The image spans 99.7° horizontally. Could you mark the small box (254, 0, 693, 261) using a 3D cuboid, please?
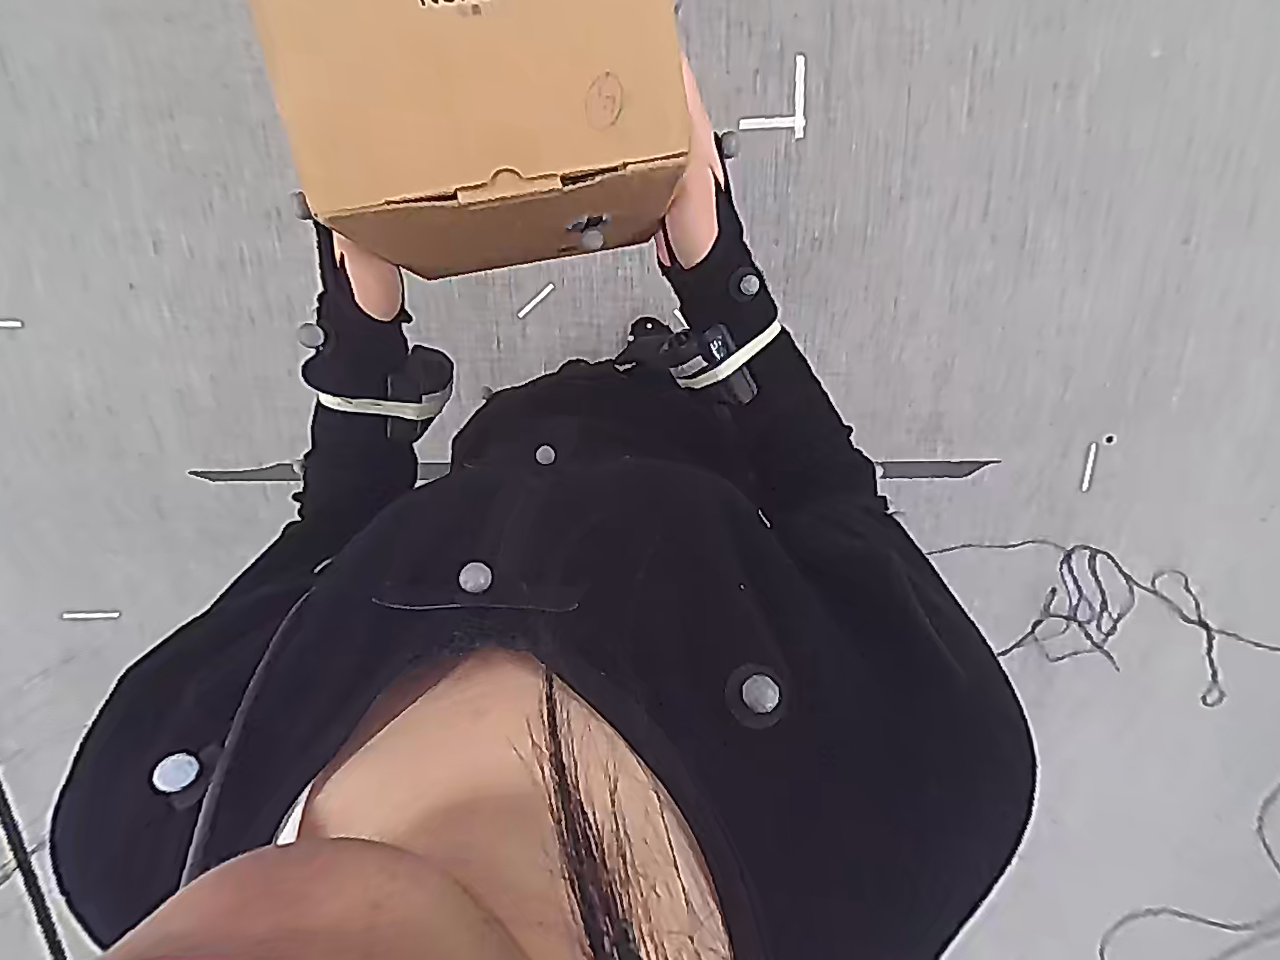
[{"bbox_3d":[-0.078,-0.226,0.287,0.168,0.176,0.179,-12,102,-4],"label":"small box"}]
